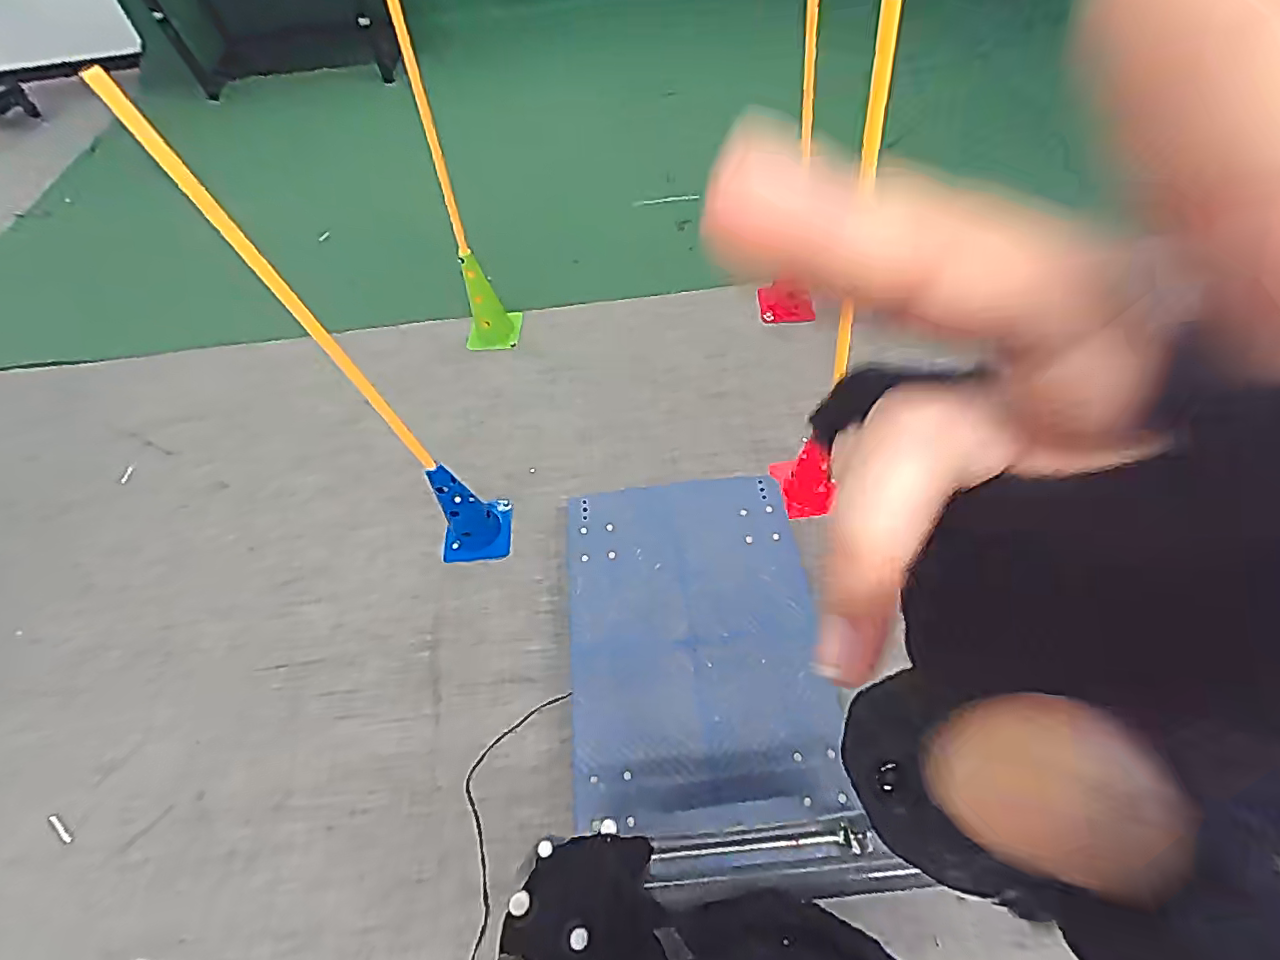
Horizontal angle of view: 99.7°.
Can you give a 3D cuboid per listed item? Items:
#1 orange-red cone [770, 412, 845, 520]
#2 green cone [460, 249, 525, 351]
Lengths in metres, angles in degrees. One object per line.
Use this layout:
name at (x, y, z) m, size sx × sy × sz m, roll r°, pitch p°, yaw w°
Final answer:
orange-red cone at (0.494, -0.062, 1.513) m, size 0.199 × 0.360 × 0.198 m, roll -7°, pitch 57°, yaw 2°
green cone at (-0.572, -0.678, 1.986) m, size 0.202 × 0.368 × 0.200 m, roll -3°, pitch 57°, yaw 4°
